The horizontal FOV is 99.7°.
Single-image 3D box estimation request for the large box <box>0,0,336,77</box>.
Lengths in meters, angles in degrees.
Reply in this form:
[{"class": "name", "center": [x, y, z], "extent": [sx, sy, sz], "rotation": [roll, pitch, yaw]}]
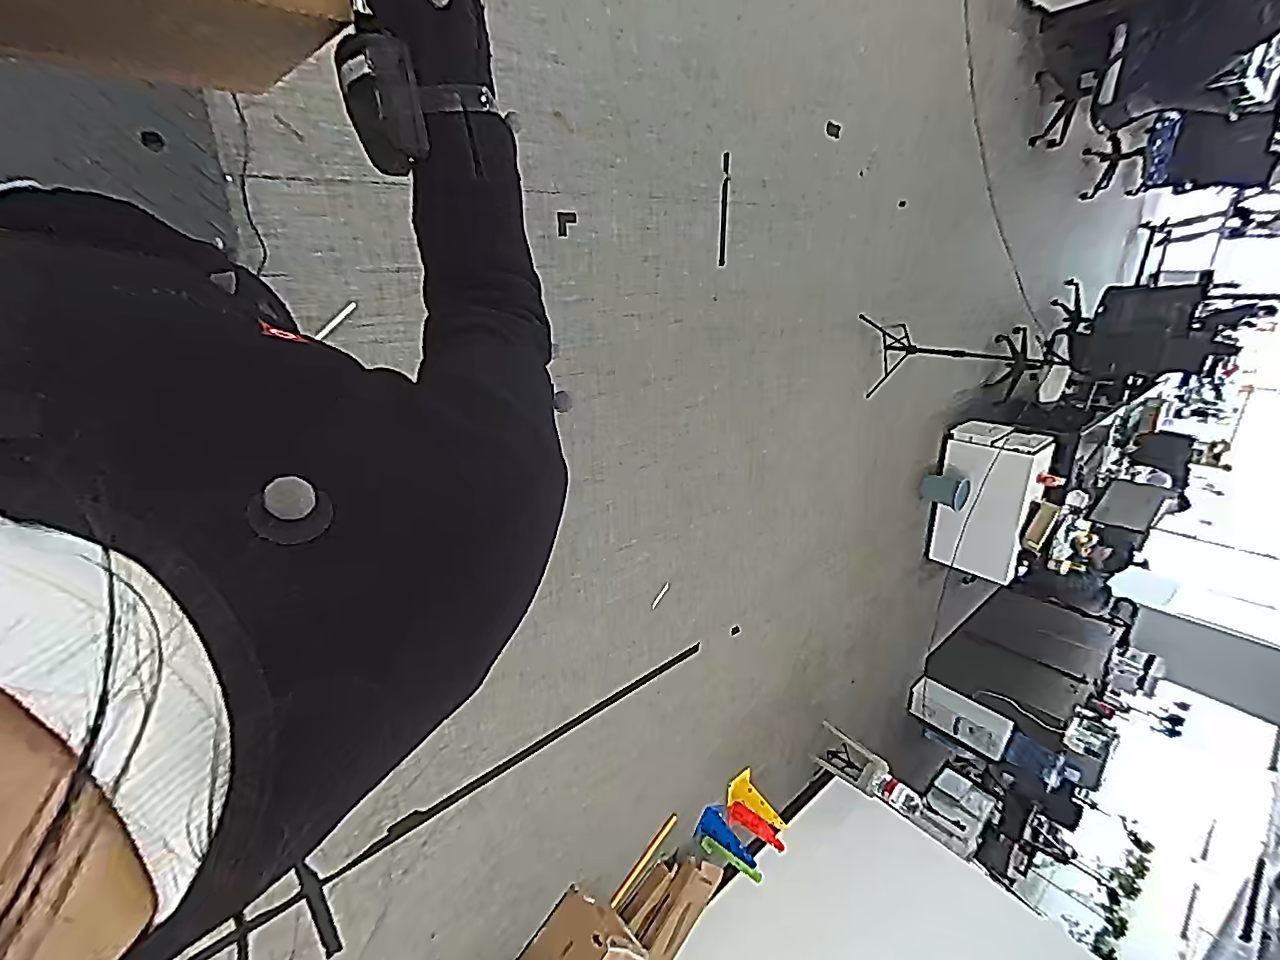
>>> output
[{"class": "large box", "center": [-0.411, -0.405, 0.222], "extent": [0.408, 0.320, 0.320], "rotation": [-19, 124, -37]}]
